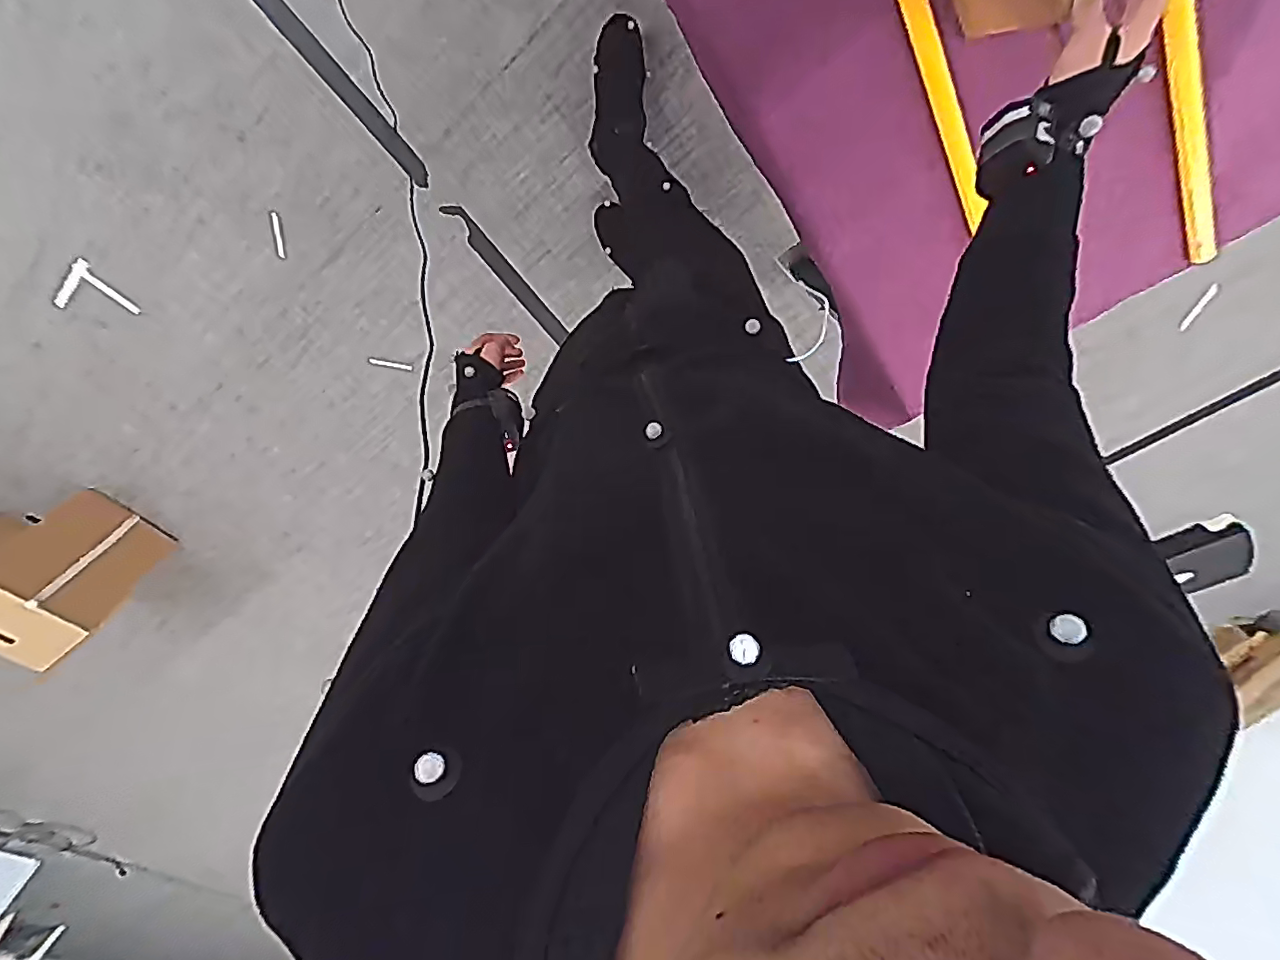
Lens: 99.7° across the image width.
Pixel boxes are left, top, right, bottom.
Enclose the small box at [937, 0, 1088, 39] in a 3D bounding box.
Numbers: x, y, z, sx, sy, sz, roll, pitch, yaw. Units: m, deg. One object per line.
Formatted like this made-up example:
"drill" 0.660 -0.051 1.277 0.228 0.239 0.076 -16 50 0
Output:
"small box" 0.372 -0.547 0.487 0.168 0.176 0.179 -34 121 20
